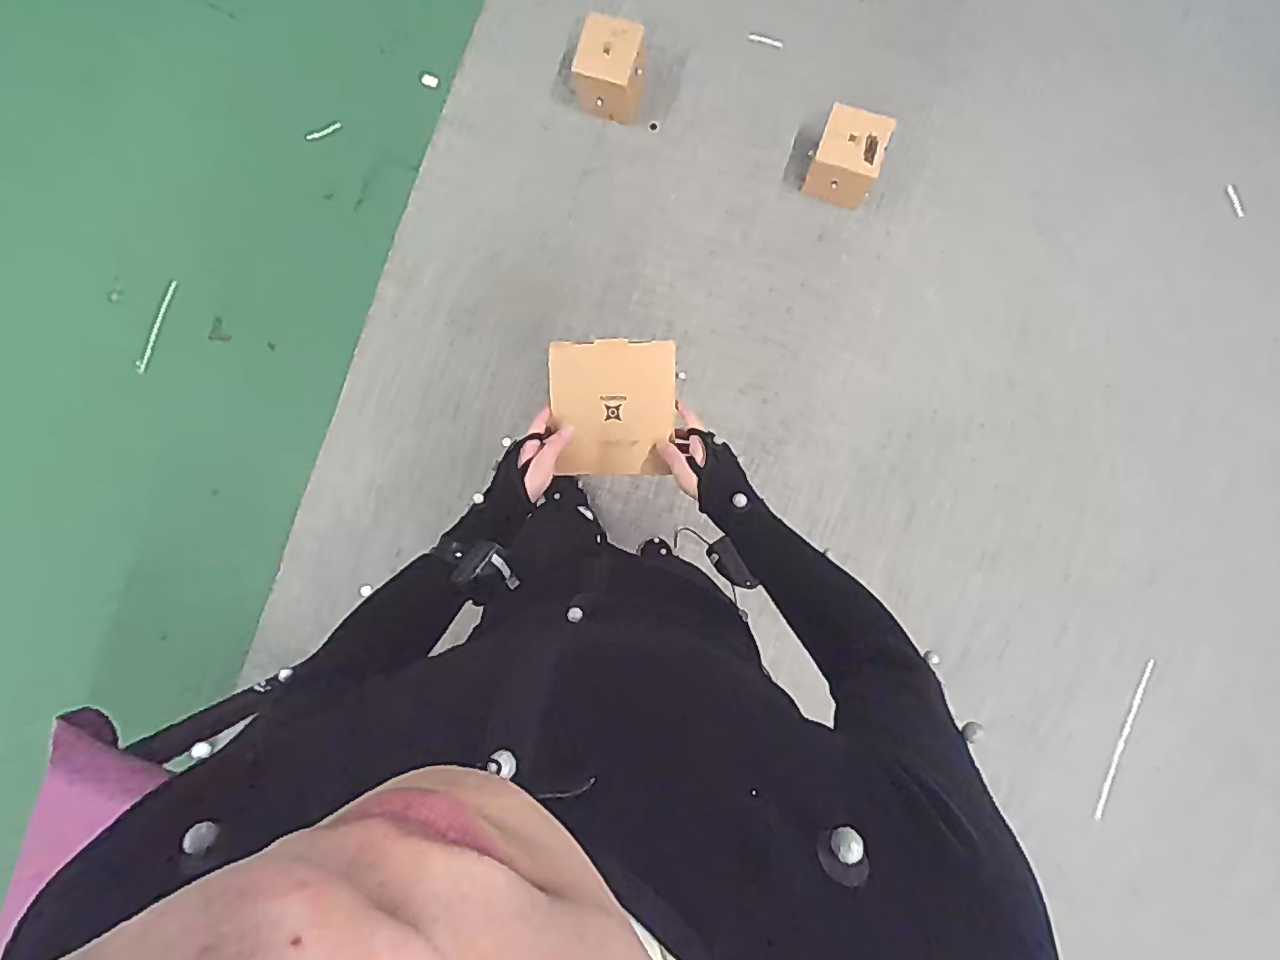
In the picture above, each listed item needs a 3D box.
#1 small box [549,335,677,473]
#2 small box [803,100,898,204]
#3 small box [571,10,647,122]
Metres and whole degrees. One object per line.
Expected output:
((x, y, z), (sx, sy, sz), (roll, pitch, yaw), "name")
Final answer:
((-0.033, -0.109, 0.773), (0.168, 0.176, 0.179), (1, 100, 4), "small box")
((0.579, -0.902, 1.506), (0.179, 0.176, 0.168), (19, 90, 5), "small box")
((-0.083, -1.181, 1.558), (0.168, 0.176, 0.179), (19, 90, 3), "small box")
